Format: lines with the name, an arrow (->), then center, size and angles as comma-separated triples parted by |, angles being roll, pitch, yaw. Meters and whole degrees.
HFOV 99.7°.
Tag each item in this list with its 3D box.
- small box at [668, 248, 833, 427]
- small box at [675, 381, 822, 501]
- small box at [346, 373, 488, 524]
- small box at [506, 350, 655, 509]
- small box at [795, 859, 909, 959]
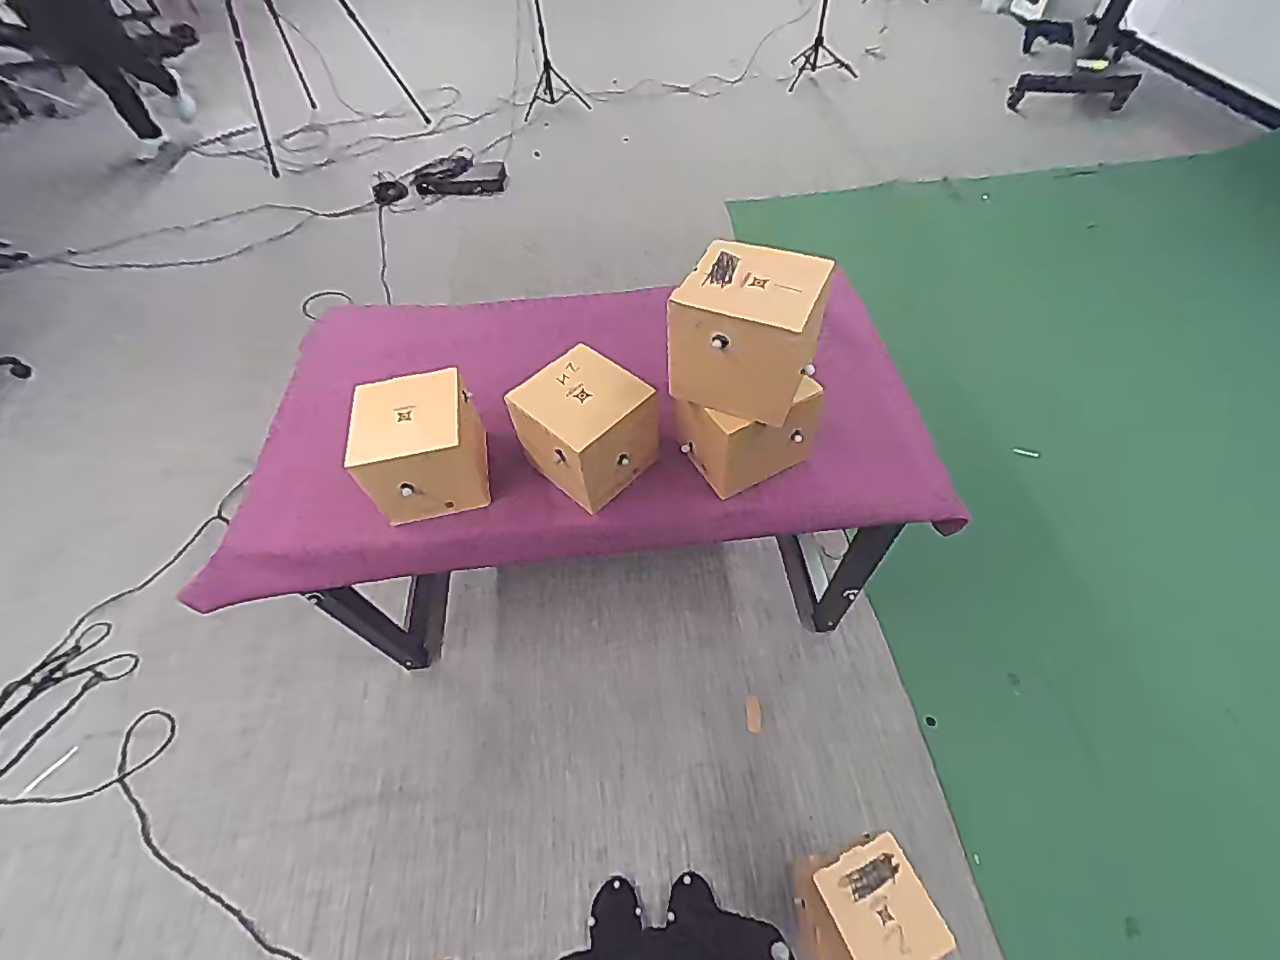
small box -> 0.152, -0.201, 0.773 | 0.179, 0.176, 0.168 | 20, 56, 18
small box -> 0.166, -0.097, 0.898 | 0.179, 0.176, 0.168 | -25, 54, -13
small box -> -0.356, -0.044, 0.892 | 0.168, 0.176, 0.179 | -12, 53, -5
small box -> -0.089, -0.076, 0.897 | 0.179, 0.176, 0.168 | 37, 63, 26
small box -> 0.413, 0.871, 1.085 | 0.179, 0.176, 0.168 | 2, 55, 5
